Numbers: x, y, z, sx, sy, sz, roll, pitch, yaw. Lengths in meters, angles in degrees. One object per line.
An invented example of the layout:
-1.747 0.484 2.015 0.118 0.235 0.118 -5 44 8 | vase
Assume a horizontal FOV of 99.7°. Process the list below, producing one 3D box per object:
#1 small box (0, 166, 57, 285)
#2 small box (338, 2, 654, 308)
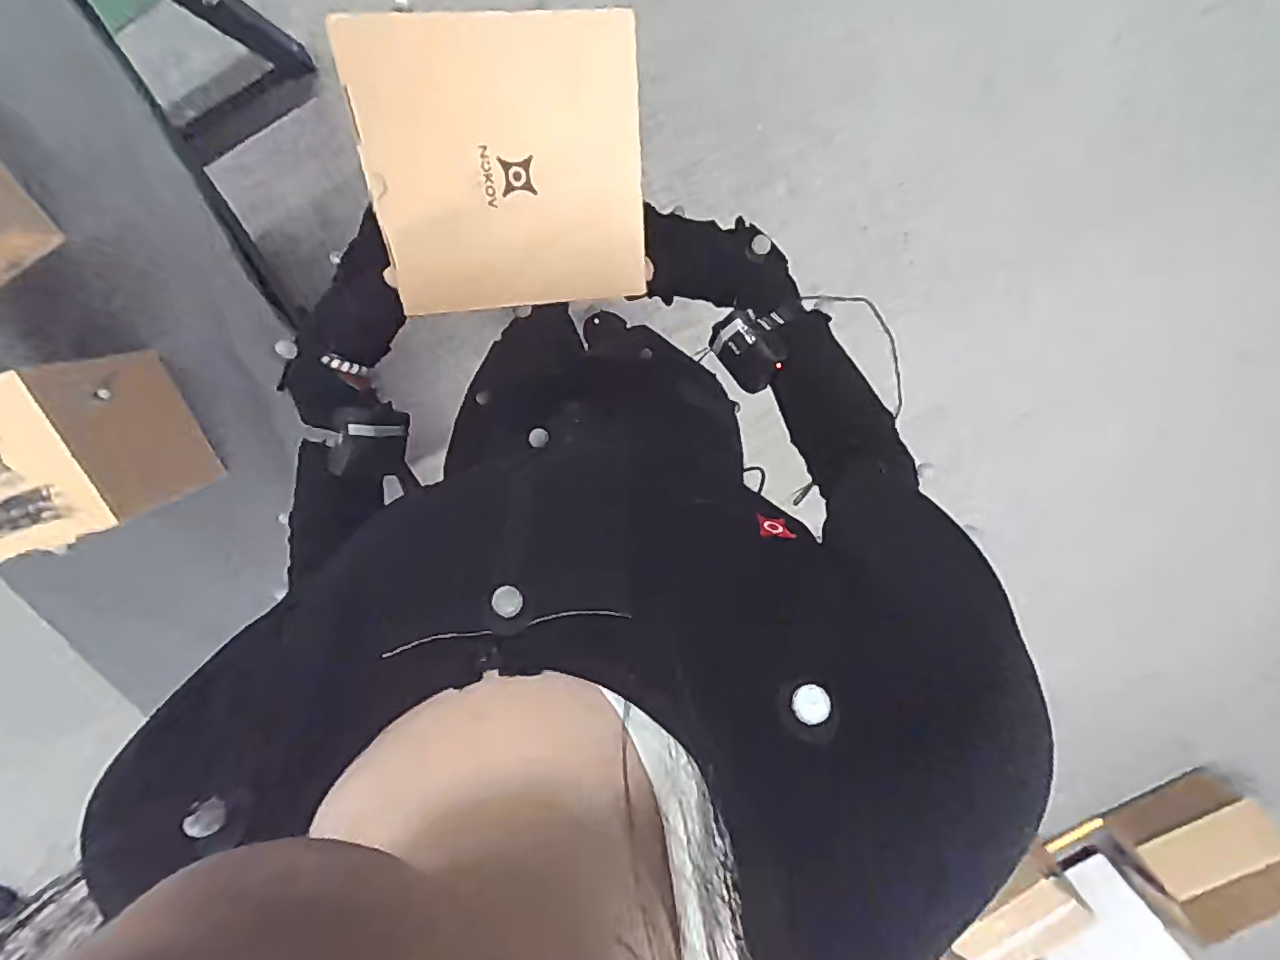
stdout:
-0.777 -0.286 0.536 0.168 0.176 0.179 -28 108 8 | small box
-0.093 -0.241 0.413 0.179 0.176 0.168 -8 122 -7 | small box
